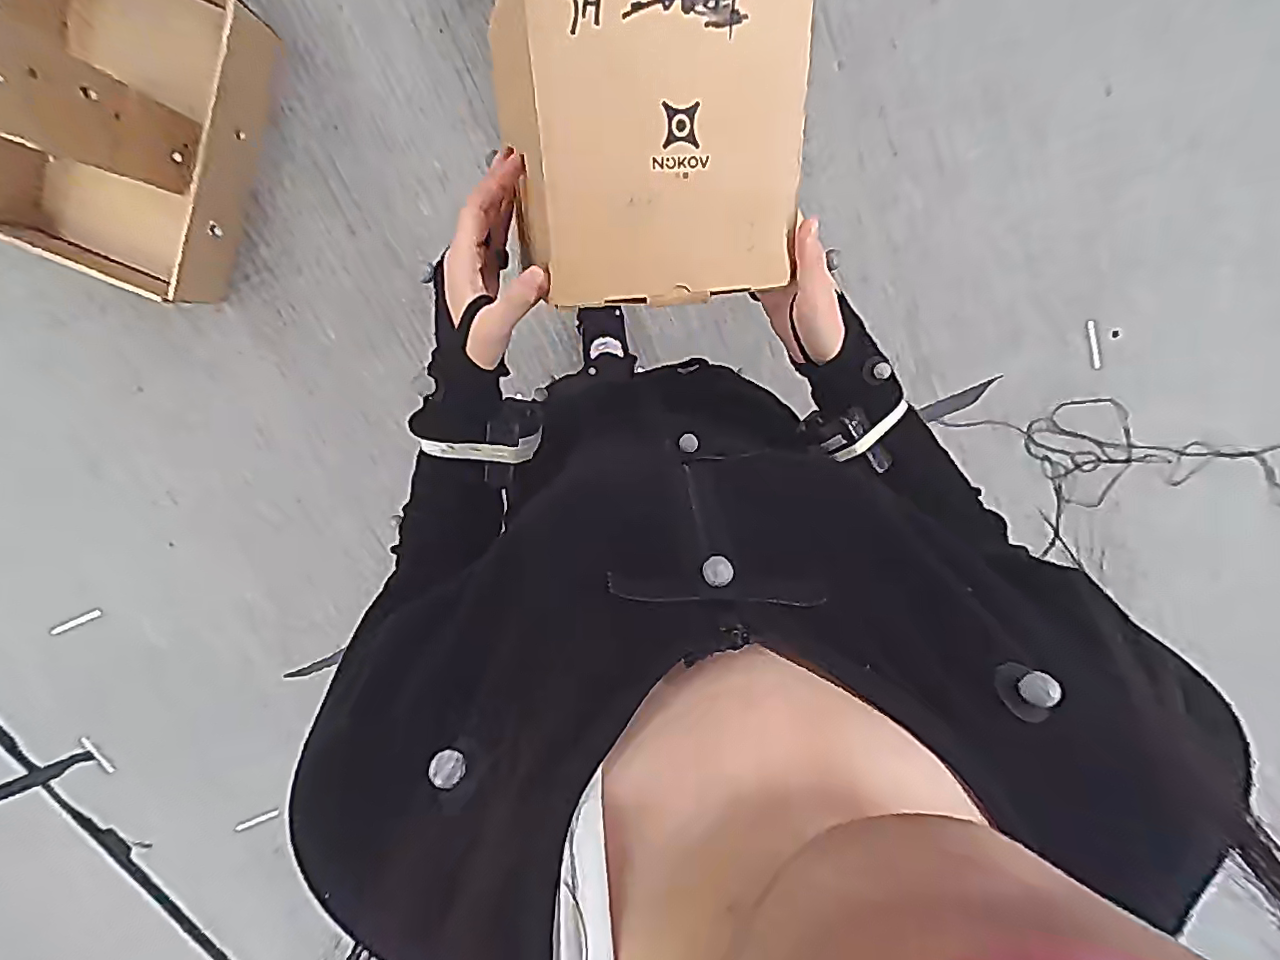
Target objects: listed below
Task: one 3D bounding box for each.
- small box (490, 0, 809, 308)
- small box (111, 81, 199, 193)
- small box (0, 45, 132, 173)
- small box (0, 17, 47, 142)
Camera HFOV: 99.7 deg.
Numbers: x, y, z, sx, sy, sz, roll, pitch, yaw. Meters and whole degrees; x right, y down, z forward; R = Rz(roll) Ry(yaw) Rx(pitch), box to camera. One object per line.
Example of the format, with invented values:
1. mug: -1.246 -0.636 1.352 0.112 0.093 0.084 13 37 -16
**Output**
1. small box: -0.006 -0.233 0.384 0.168 0.176 0.179 -11 120 -16
2. small box: -1.069 -0.718 1.110 0.179 0.176 0.168 21 103 -10
3. small box: -1.061 -0.671 0.955 0.179 0.176 0.168 17 102 -8
4. small box: -1.047 -0.632 0.795 0.179 0.176 0.168 17 102 -9
